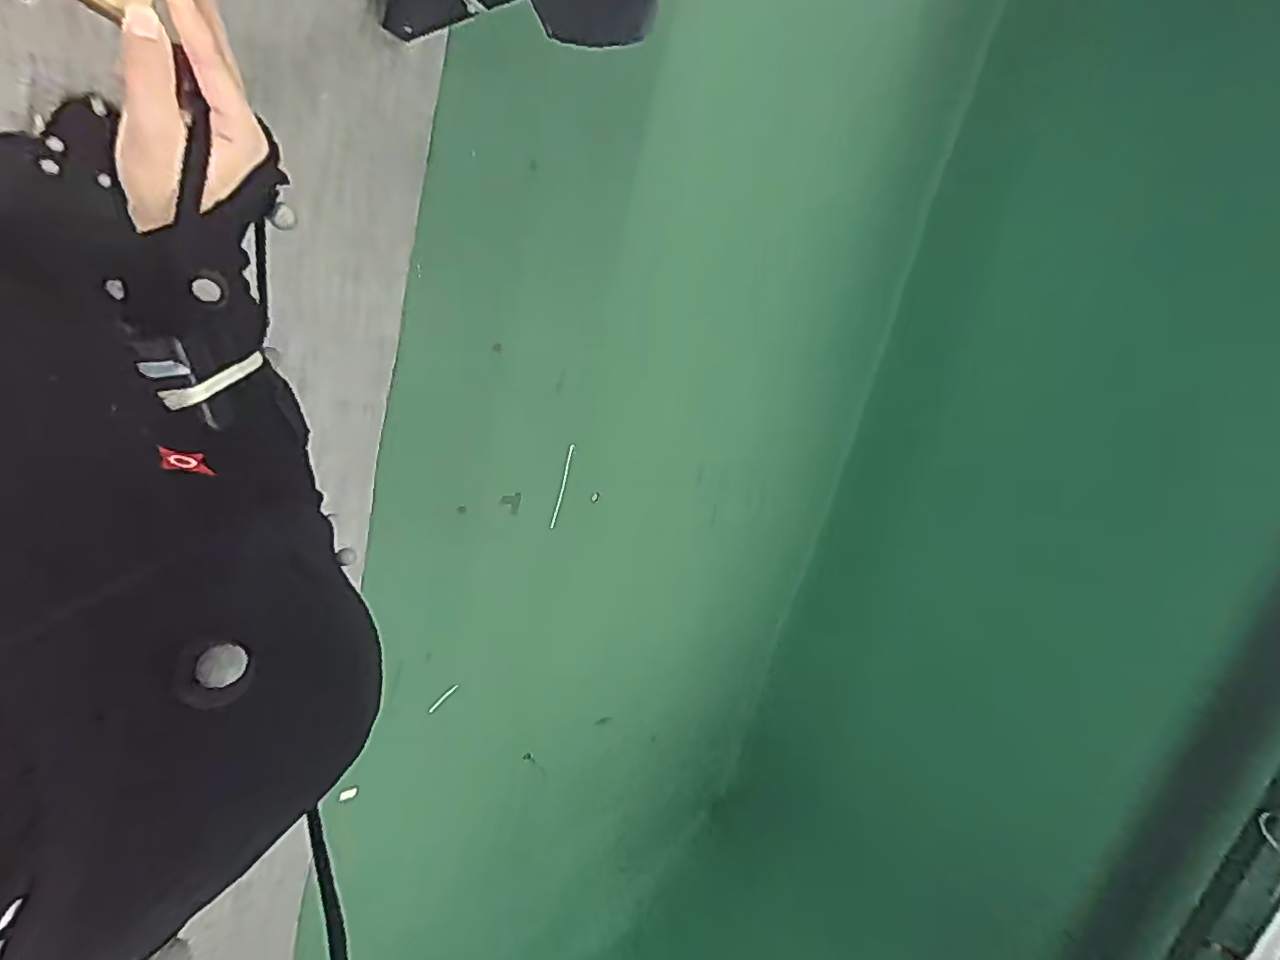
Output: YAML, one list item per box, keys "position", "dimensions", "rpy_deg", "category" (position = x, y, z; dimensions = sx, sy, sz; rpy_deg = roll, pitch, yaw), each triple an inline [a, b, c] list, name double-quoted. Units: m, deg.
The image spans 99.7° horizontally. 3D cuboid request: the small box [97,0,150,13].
- position: [-0.288, -0.344, 0.225]
  dimensions: [0.168, 0.176, 0.179]
  rpy_deg: [16, 108, -49]
  category: "small box"
